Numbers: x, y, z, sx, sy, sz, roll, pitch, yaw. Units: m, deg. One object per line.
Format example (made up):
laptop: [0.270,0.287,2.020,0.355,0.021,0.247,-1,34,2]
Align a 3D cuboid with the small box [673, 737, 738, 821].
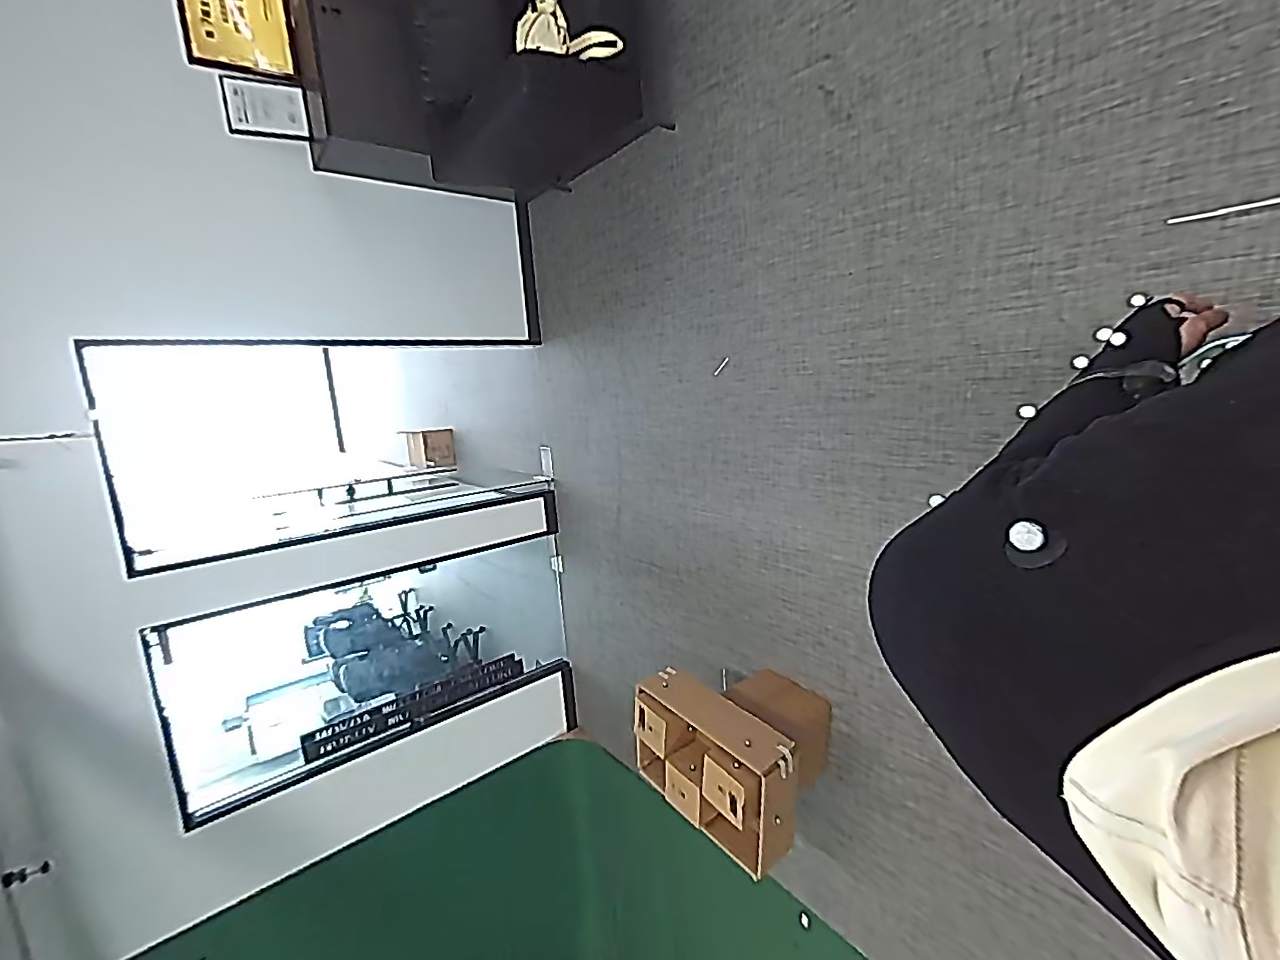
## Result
small box: [0.236,1.063,1.943,0.179,0.176,0.168,16,111,49]
